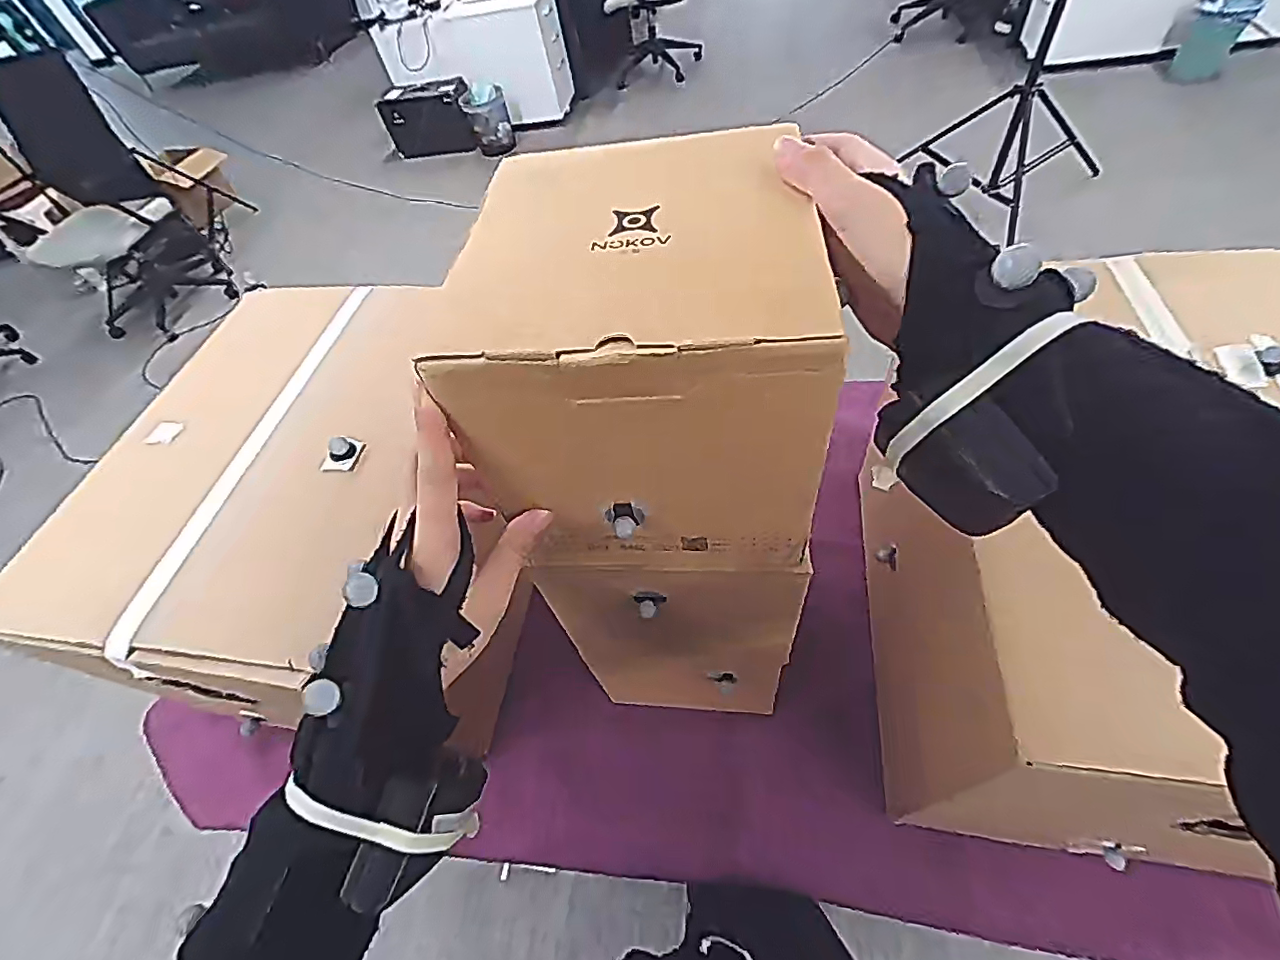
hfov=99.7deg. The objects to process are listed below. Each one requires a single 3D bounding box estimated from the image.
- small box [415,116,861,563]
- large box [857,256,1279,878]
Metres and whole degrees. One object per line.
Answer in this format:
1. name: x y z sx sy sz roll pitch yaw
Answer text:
1. small box: 0.010 -0.071 0.305 0.168 0.176 0.179 -2 54 8
2. large box: 0.383 0.070 0.456 0.320 0.320 0.408 2 53 11
